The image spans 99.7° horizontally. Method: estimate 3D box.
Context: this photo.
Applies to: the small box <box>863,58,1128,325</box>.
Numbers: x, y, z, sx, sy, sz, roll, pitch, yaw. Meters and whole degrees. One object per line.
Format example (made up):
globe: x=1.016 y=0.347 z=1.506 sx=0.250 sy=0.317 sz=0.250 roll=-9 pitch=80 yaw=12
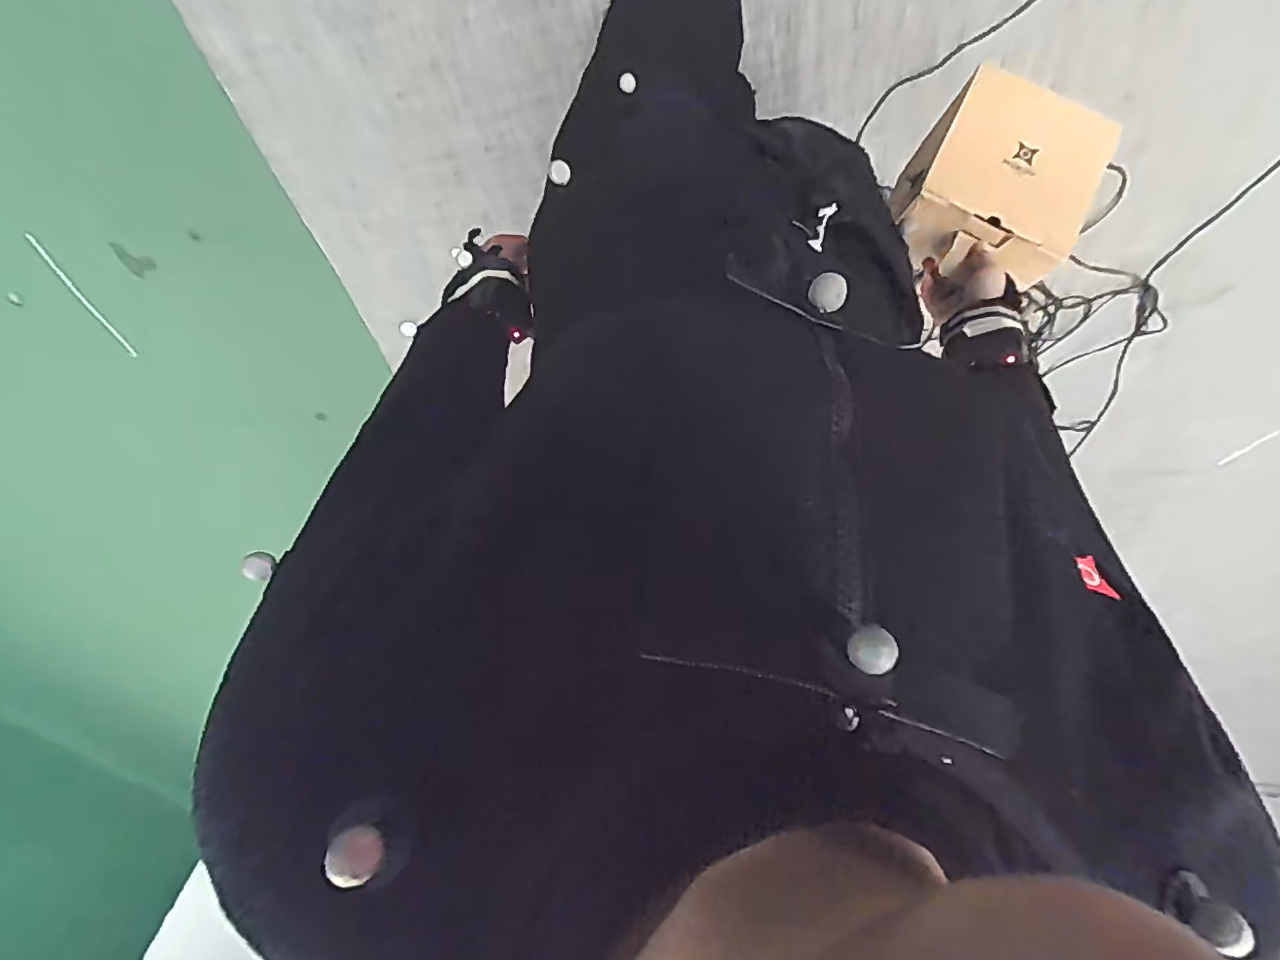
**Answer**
small box: x=0.389 y=-0.315 z=0.624 sx=0.168 sy=0.179 sz=0.176 roll=27 pitch=172 yaw=3
